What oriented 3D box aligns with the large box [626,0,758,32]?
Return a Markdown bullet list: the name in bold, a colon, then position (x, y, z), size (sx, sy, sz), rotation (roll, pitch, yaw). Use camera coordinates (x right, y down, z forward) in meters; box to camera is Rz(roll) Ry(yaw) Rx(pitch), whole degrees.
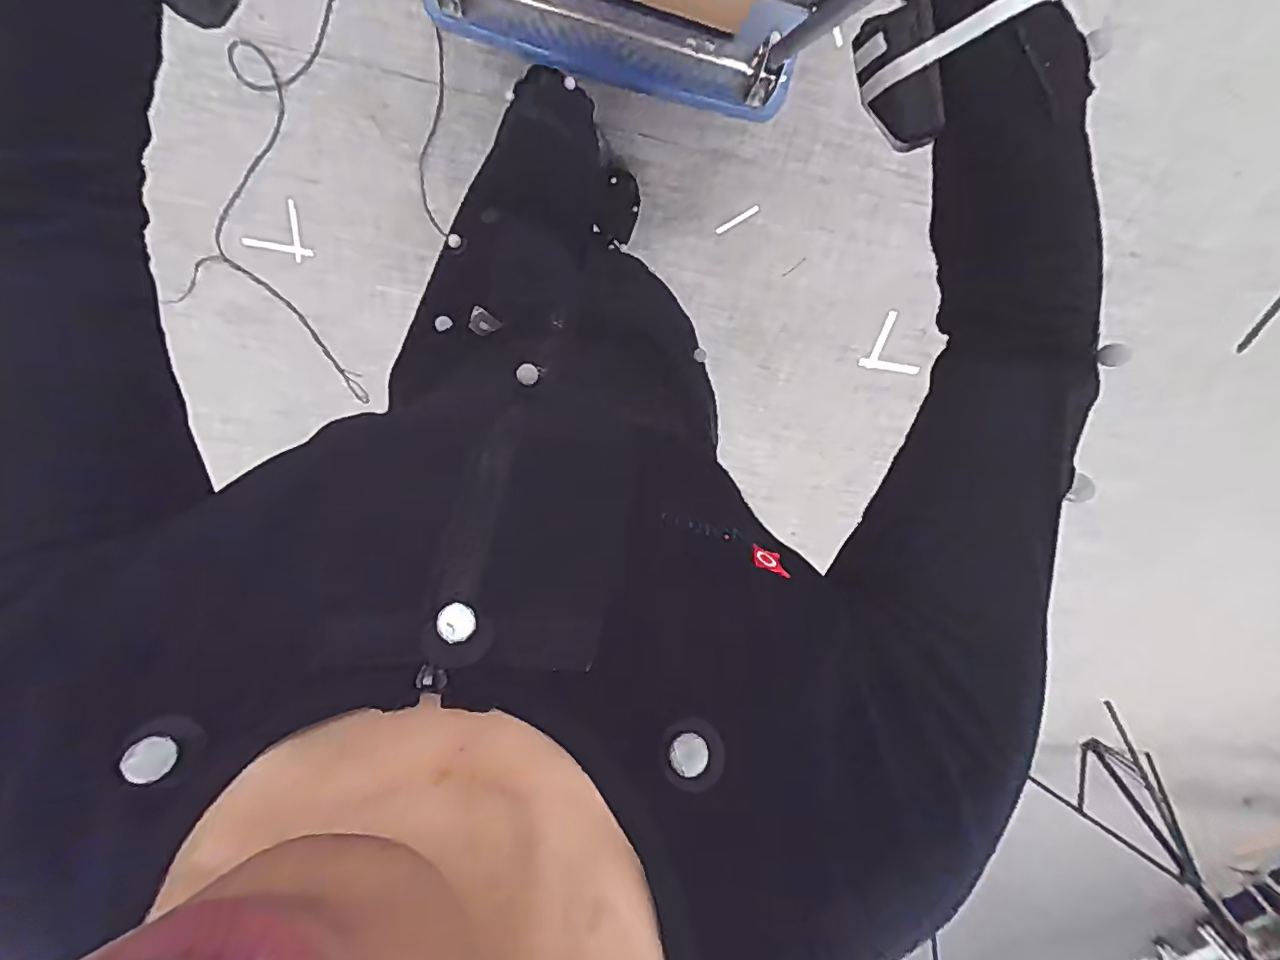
- **large box**: position (-0.001, -0.794, 0.612), size (0.408, 0.320, 0.320), rotation (10, 115, -10)
